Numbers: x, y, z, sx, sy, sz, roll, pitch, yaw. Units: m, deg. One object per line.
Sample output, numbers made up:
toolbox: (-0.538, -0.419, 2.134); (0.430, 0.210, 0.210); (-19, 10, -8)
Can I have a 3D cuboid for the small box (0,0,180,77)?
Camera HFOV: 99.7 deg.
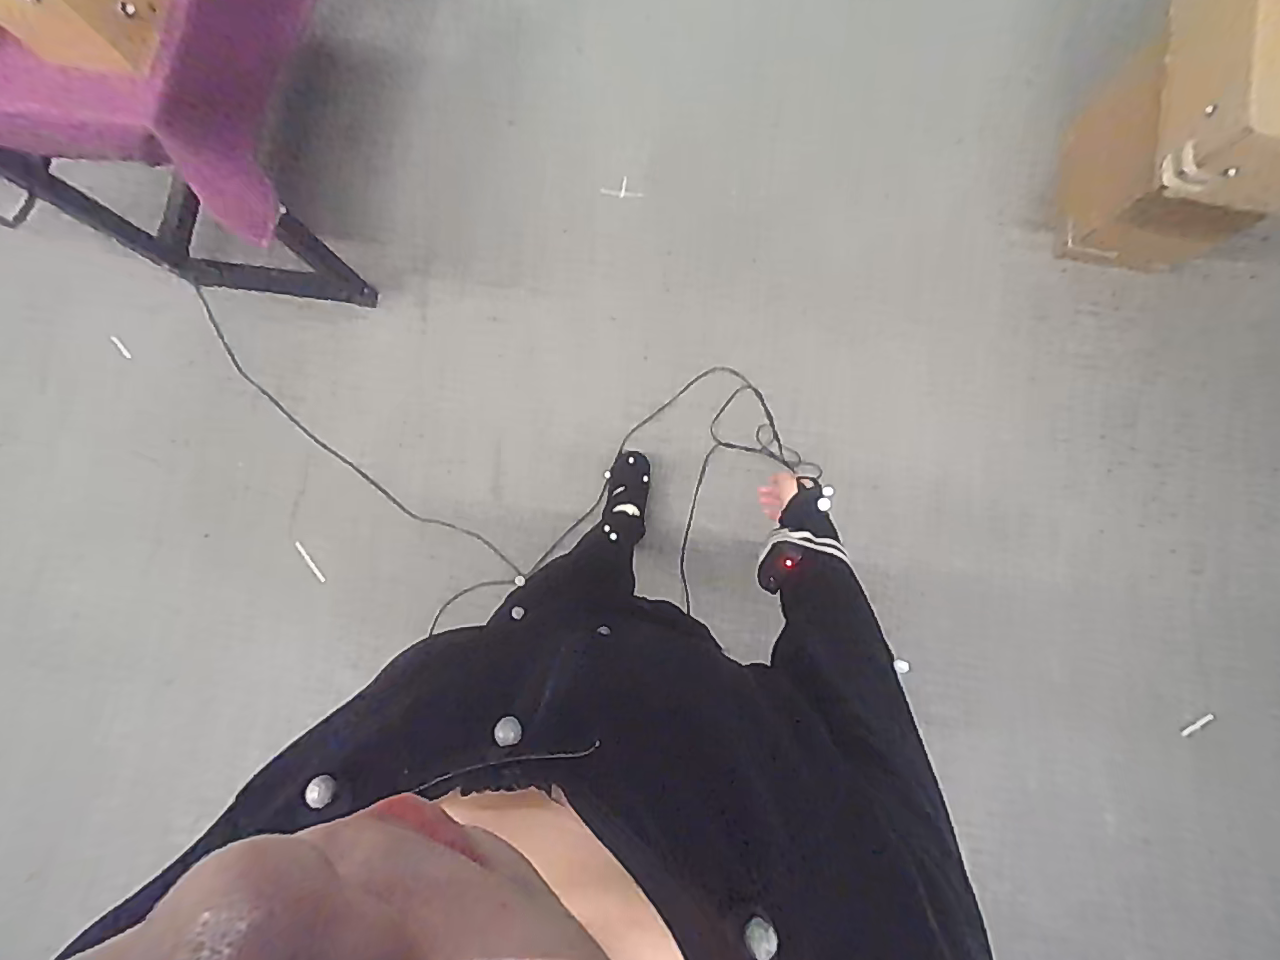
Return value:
small box: (-0.879, -0.767, 0.832); (0.179, 0.176, 0.168); (10, 83, 3)
